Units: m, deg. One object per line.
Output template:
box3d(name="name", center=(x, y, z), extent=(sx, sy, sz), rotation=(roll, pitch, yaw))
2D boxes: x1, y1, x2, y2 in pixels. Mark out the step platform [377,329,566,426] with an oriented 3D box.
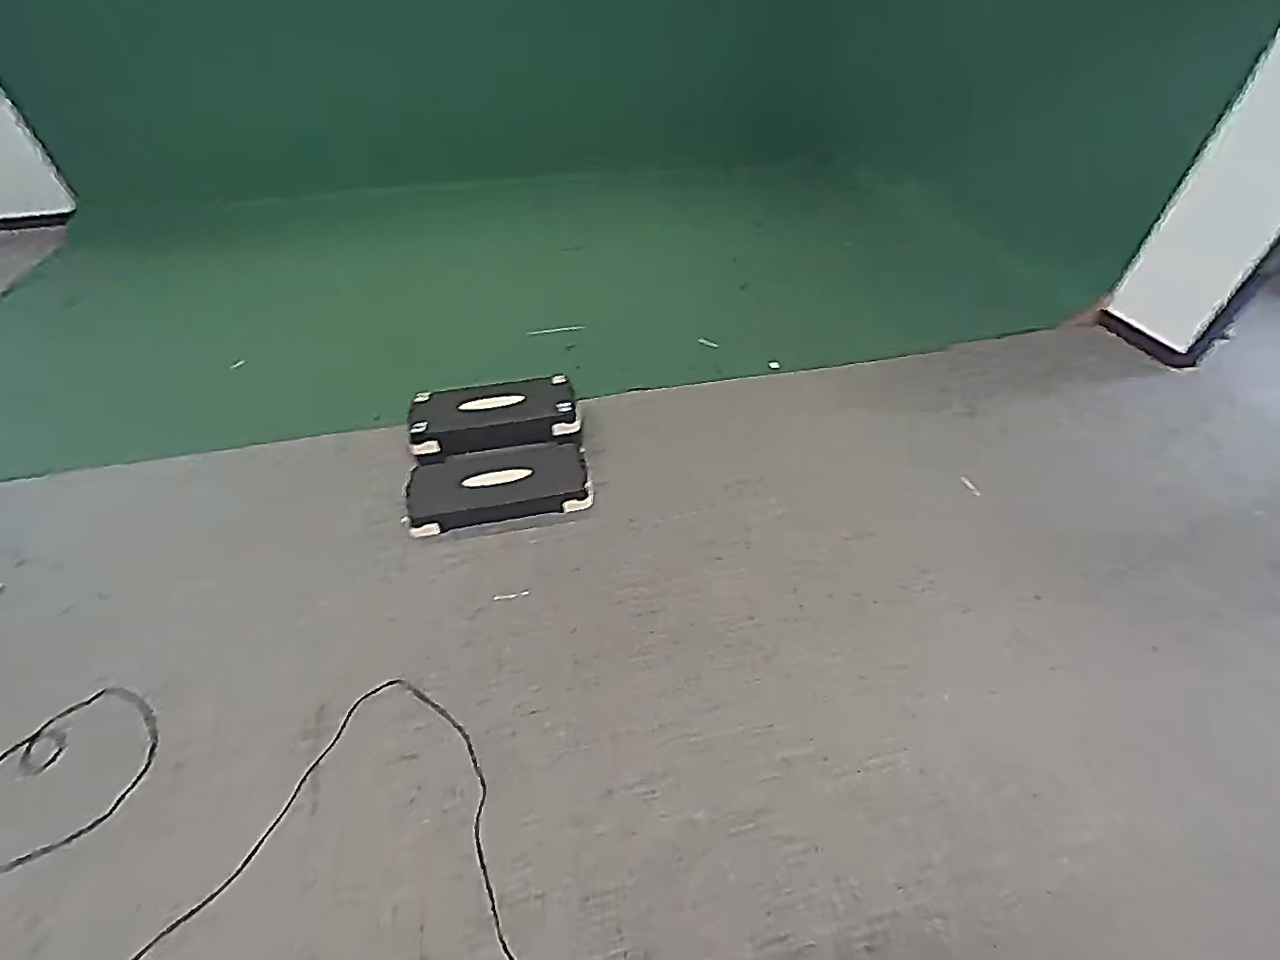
box3d(name="step platform", center=(-0.633, -0.403, 2.109), extent=(0.684, 0.204, 0.286), rotation=(-10, 46, -7))
